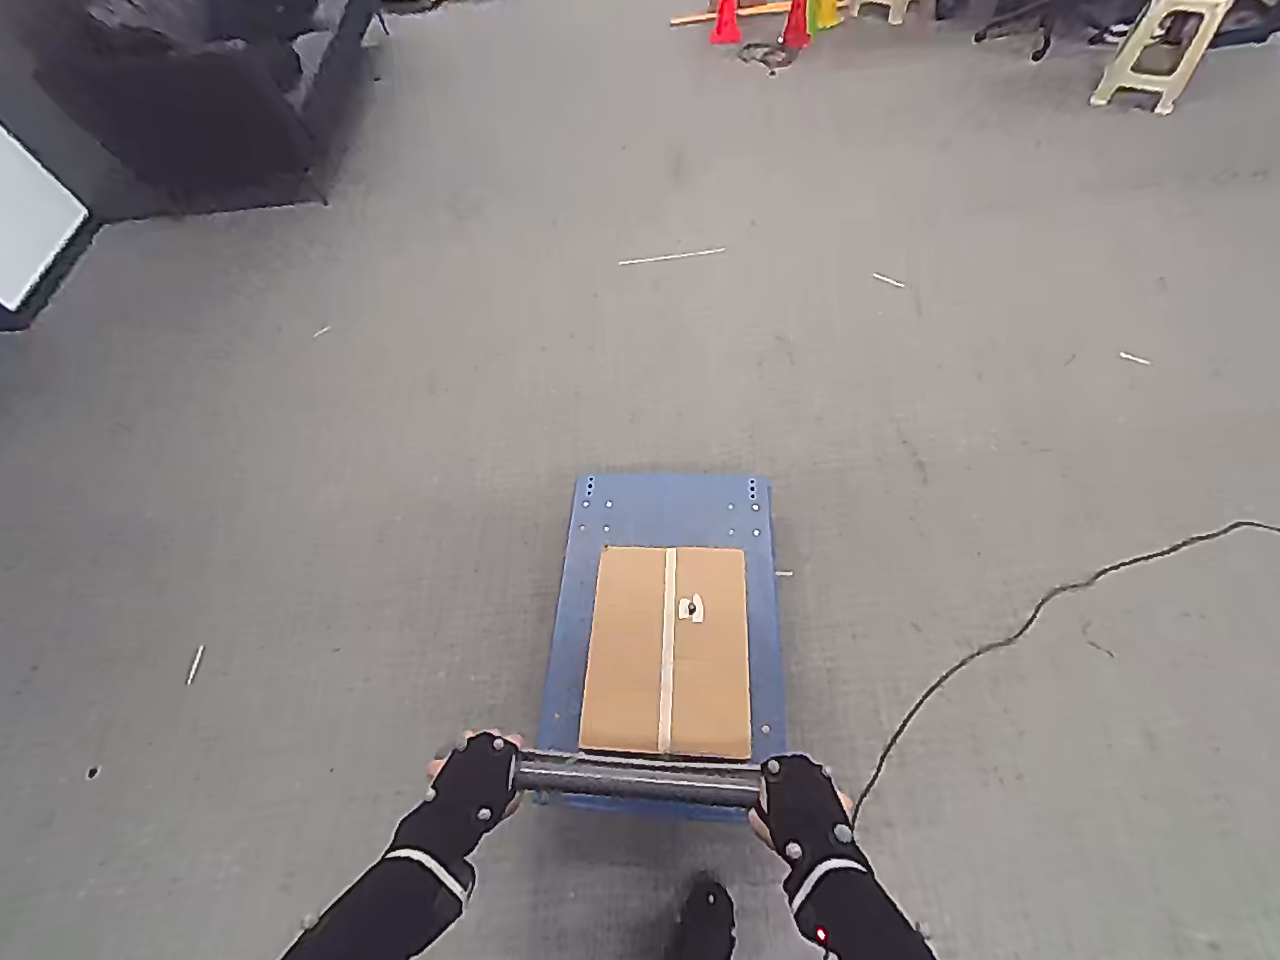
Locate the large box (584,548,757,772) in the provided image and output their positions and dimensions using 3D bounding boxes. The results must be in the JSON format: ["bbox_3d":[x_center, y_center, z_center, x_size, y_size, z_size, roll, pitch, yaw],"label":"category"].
[{"bbox_3d":[0.075,0.397,1.185,0.320,0.320,0.408,1,57,6],"label":"large box"}]
